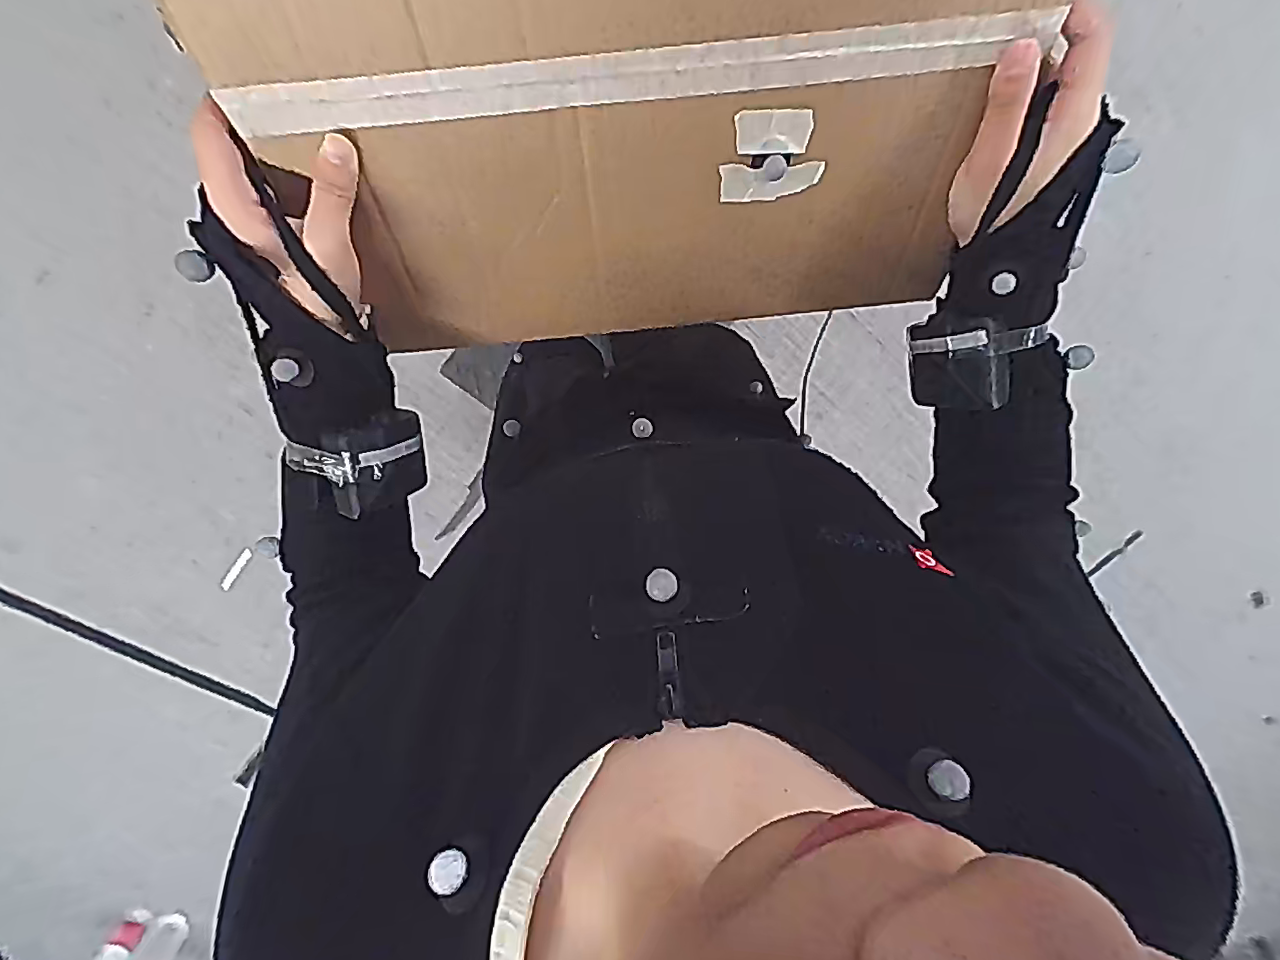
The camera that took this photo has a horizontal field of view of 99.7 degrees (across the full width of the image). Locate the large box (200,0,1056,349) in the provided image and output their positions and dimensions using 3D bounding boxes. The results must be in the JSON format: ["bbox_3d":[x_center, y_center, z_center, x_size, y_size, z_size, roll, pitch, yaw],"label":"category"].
[{"bbox_3d":[-0.010,-0.326,0.358,0.408,0.320,0.320,-7,146,-2],"label":"large box"}]
